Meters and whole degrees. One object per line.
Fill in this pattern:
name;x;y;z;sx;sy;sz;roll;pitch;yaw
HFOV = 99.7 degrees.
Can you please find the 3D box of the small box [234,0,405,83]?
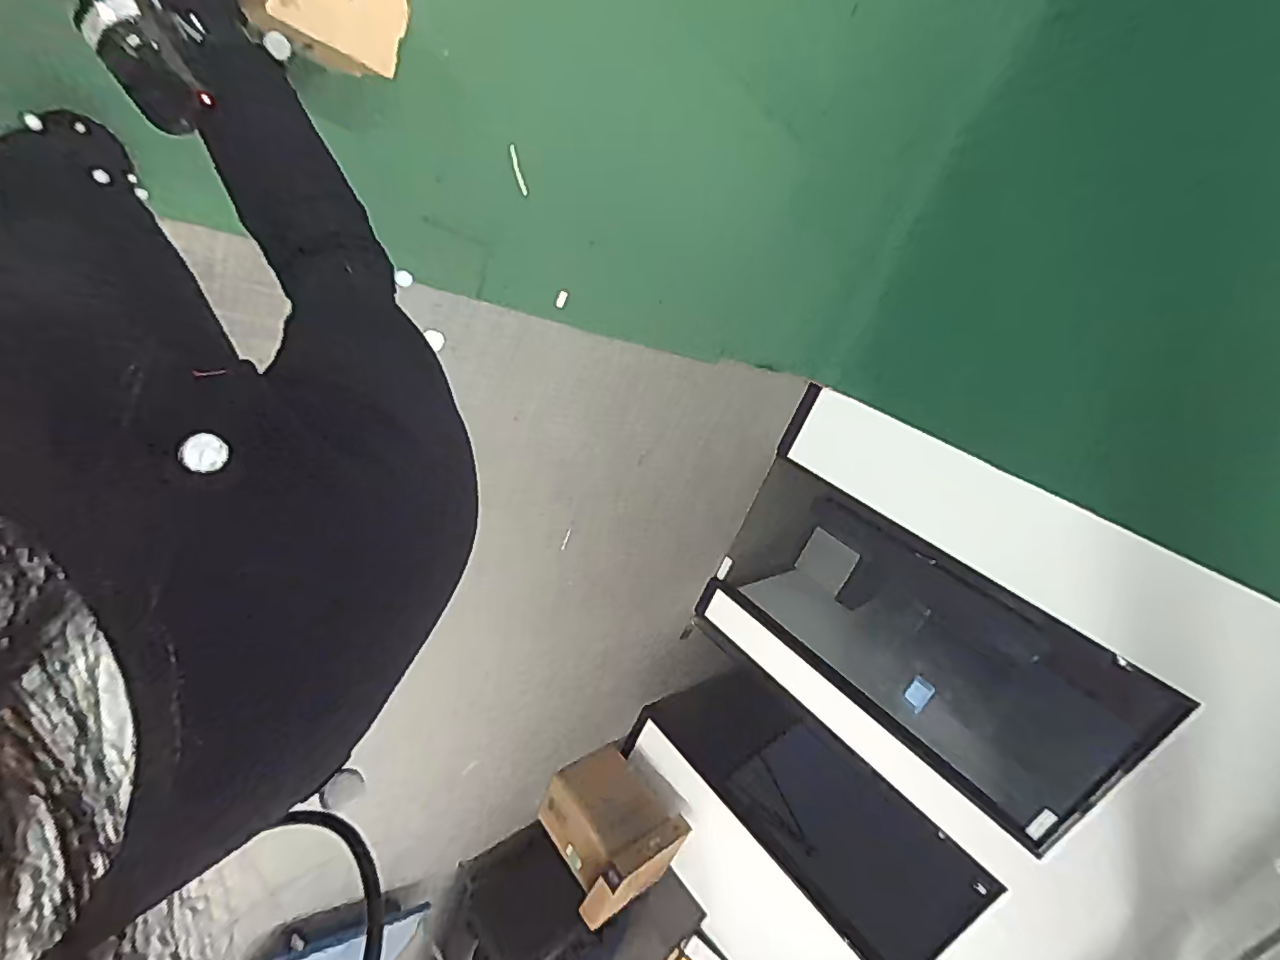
small box;-0.480;-0.743;0.814;0.179;0.176;0.168;0;120;-49
